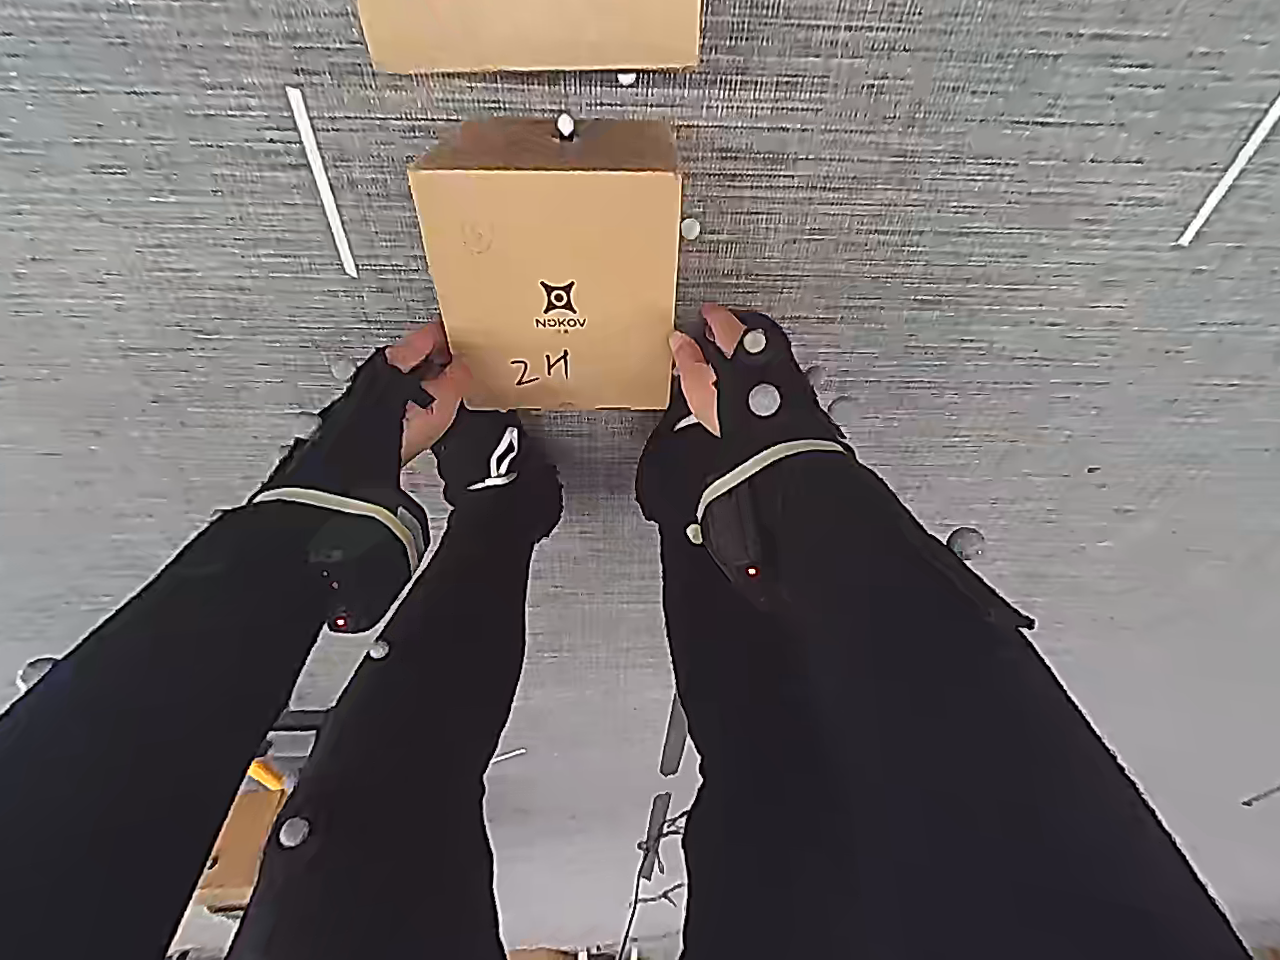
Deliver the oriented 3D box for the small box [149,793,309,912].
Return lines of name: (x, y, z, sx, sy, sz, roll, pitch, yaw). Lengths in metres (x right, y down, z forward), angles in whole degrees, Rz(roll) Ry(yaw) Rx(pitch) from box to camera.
small box: (-0.830, 0.767, 1.116, 0.179, 0.176, 0.168, -1, 133, -3)
